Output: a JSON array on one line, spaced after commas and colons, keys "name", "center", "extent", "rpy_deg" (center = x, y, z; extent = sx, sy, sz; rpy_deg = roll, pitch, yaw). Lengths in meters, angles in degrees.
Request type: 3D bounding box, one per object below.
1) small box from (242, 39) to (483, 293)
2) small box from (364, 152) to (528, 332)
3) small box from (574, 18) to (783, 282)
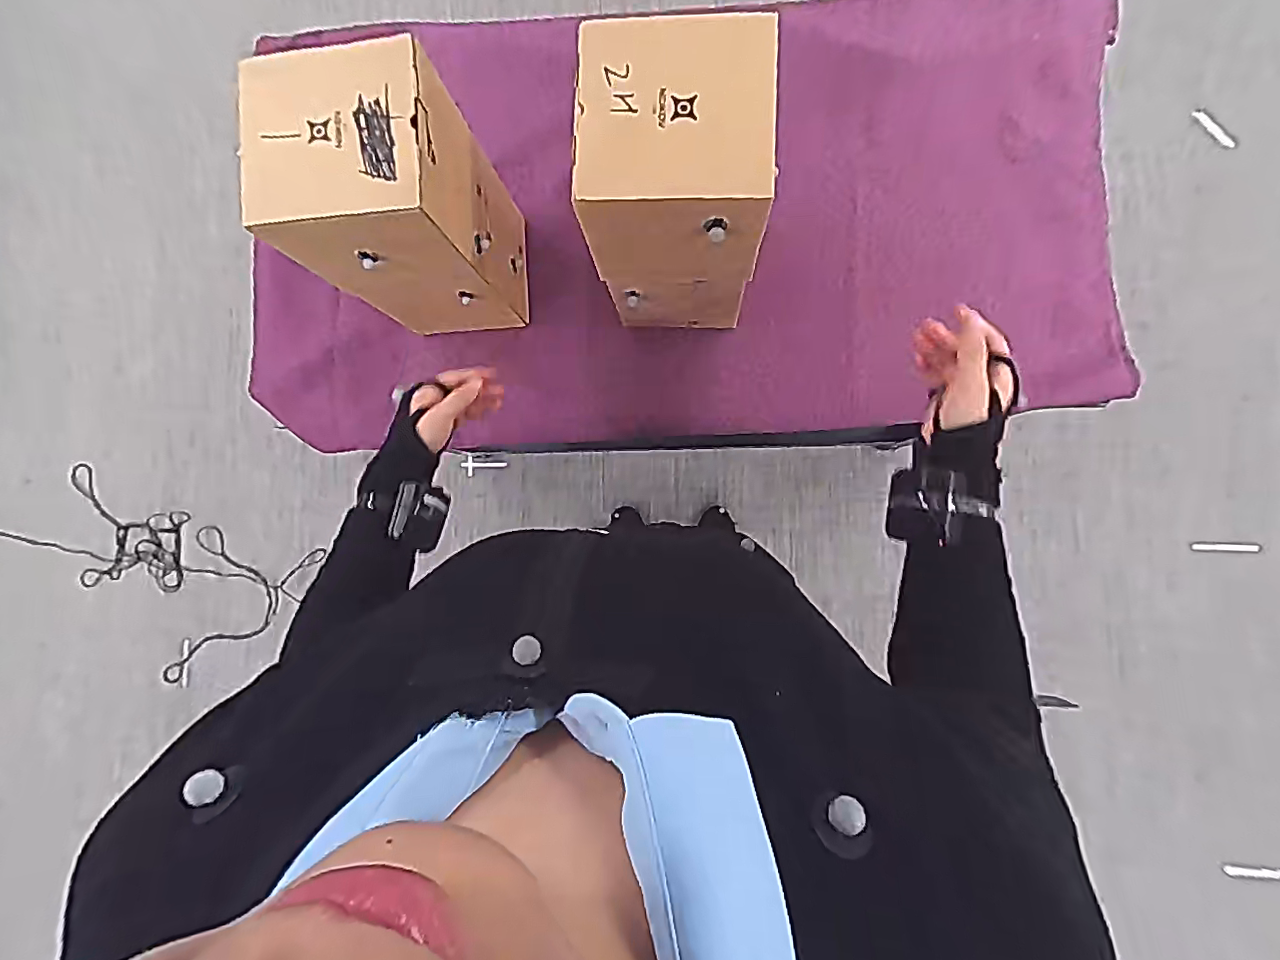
[{"name": "small box", "center": [-0.277, -0.314, 0.577], "extent": [0.179, 0.176, 0.168], "rpy_deg": [-4, 87, 5]}, {"name": "small box", "center": [-0.265, -0.311, 0.741], "extent": [0.179, 0.176, 0.168], "rpy_deg": [-4, 87, 4]}, {"name": "small box", "center": [0.039, -0.314, 0.547], "extent": [0.179, 0.176, 0.168], "rpy_deg": [2, 86, 5]}]
